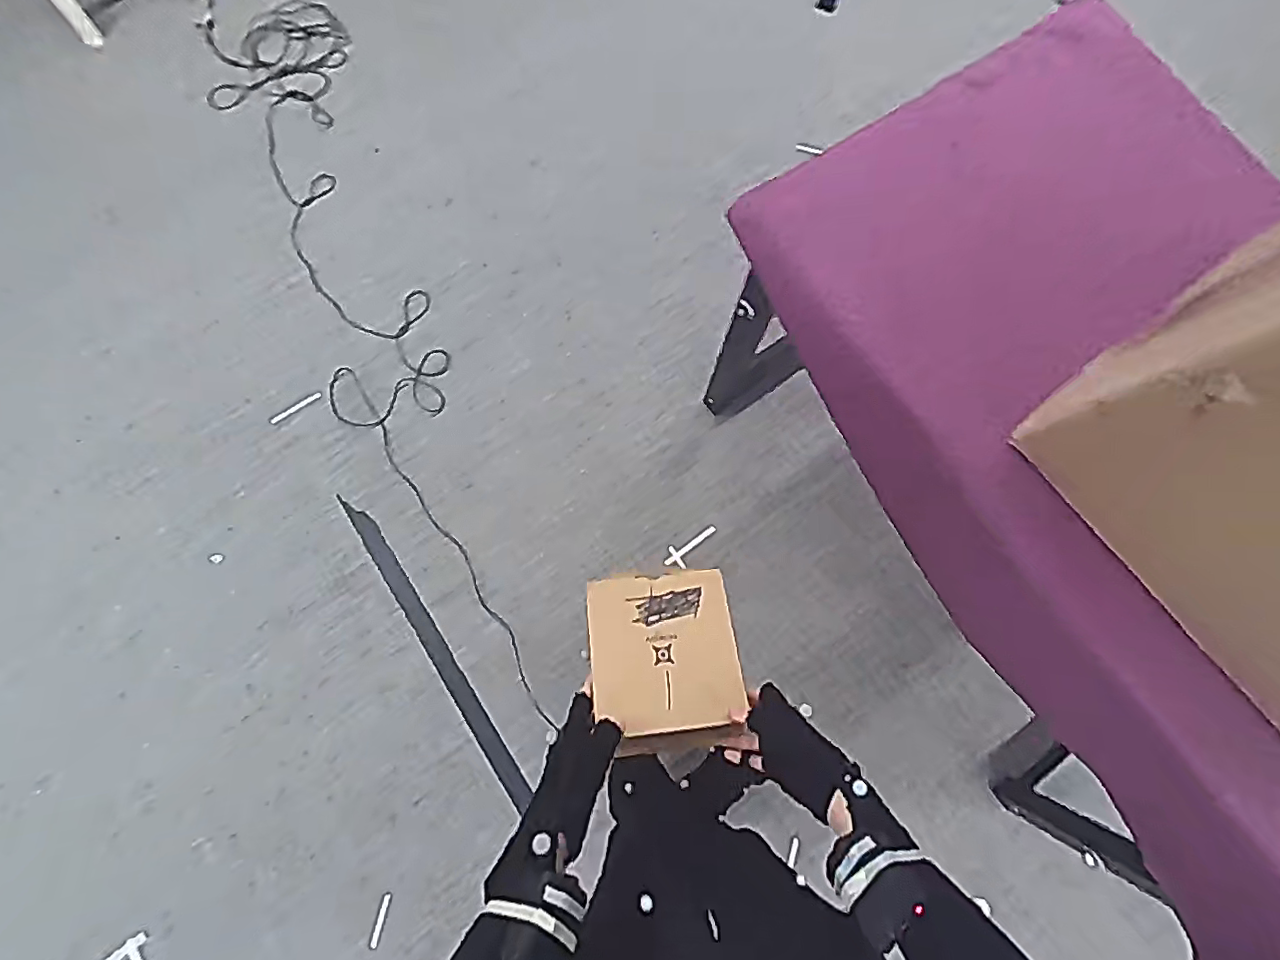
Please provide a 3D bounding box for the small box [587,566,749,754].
[{"bbox_3d":[0.023,0.227,0.673,0.168,0.176,0.179,-5,58,-5],"label":"small box"}]
